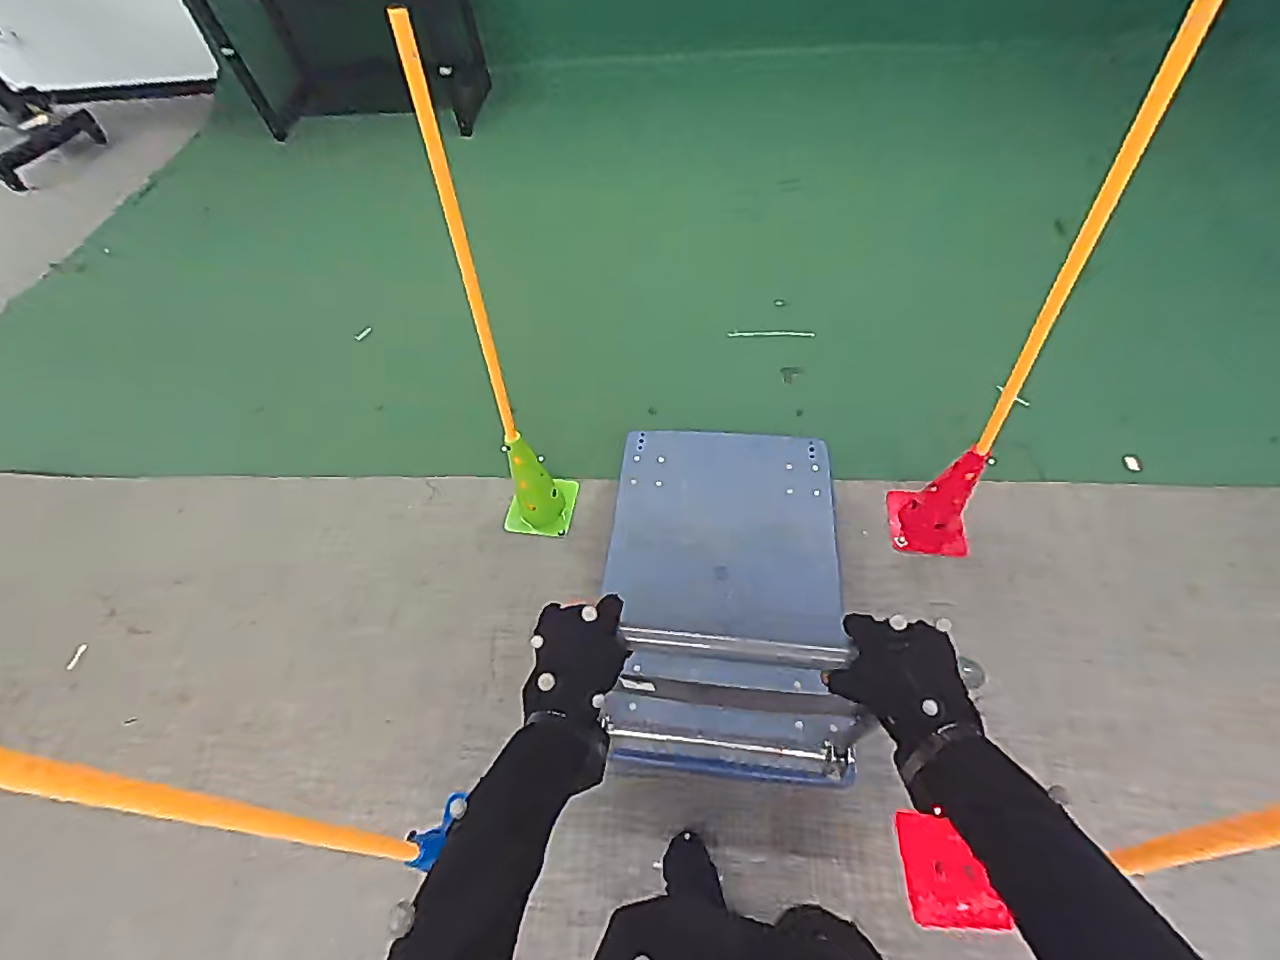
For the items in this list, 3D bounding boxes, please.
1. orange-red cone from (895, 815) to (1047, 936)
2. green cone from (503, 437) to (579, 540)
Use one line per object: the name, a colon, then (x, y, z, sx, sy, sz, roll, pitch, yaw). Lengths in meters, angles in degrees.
orange-red cone: (0.633, 0.726, 0.990, 0.199, 0.360, 0.198, -1, 56, 7)
green cone: (-0.315, -0.001, 1.549, 0.202, 0.368, 0.200, 4, 56, 9)
